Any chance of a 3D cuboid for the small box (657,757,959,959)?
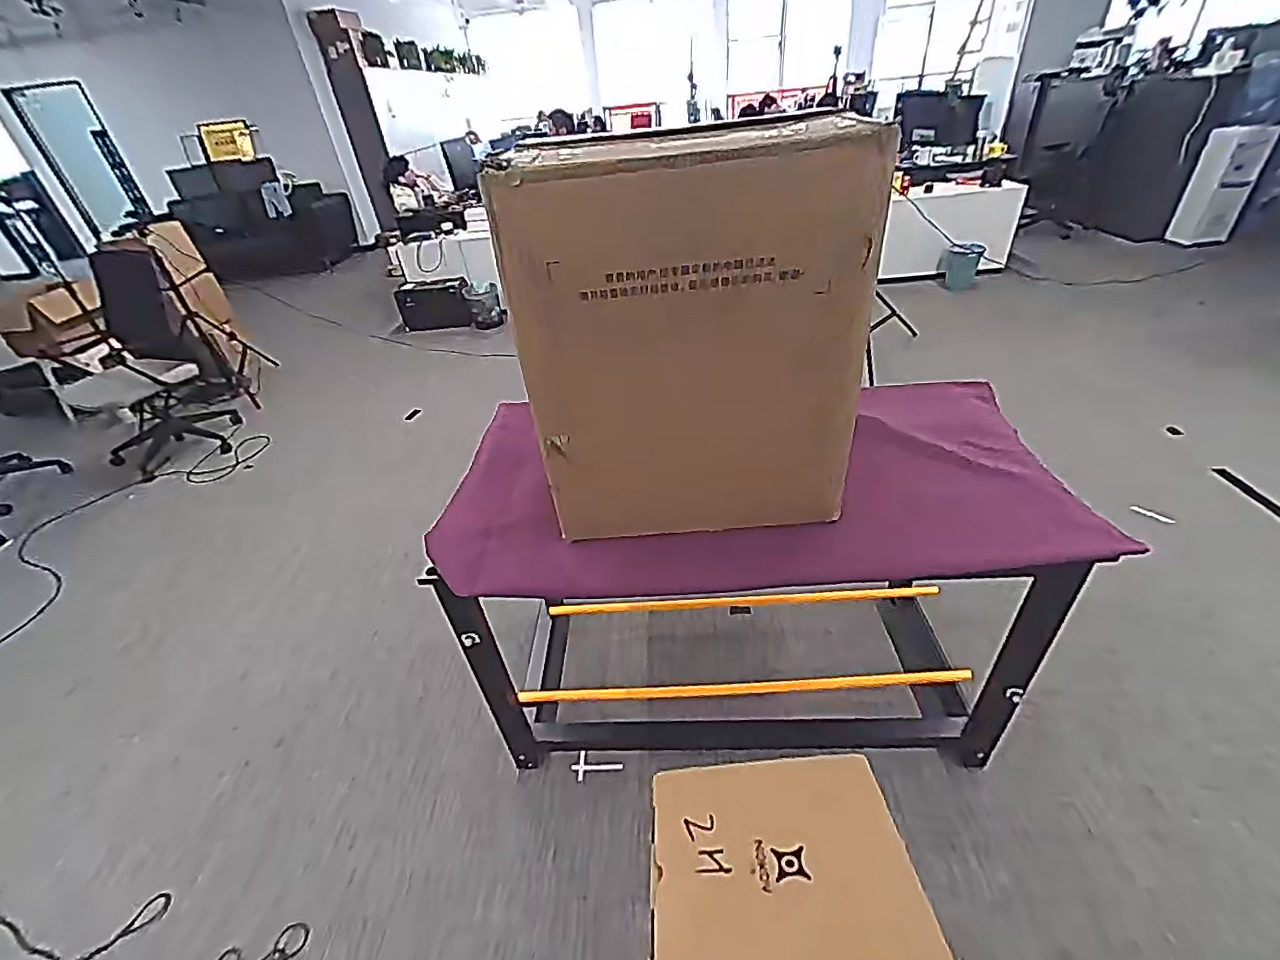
[{"bbox_3d":[0.110,0.337,0.393,0.179,0.176,0.168,-8,19,5],"label":"small box"}]
